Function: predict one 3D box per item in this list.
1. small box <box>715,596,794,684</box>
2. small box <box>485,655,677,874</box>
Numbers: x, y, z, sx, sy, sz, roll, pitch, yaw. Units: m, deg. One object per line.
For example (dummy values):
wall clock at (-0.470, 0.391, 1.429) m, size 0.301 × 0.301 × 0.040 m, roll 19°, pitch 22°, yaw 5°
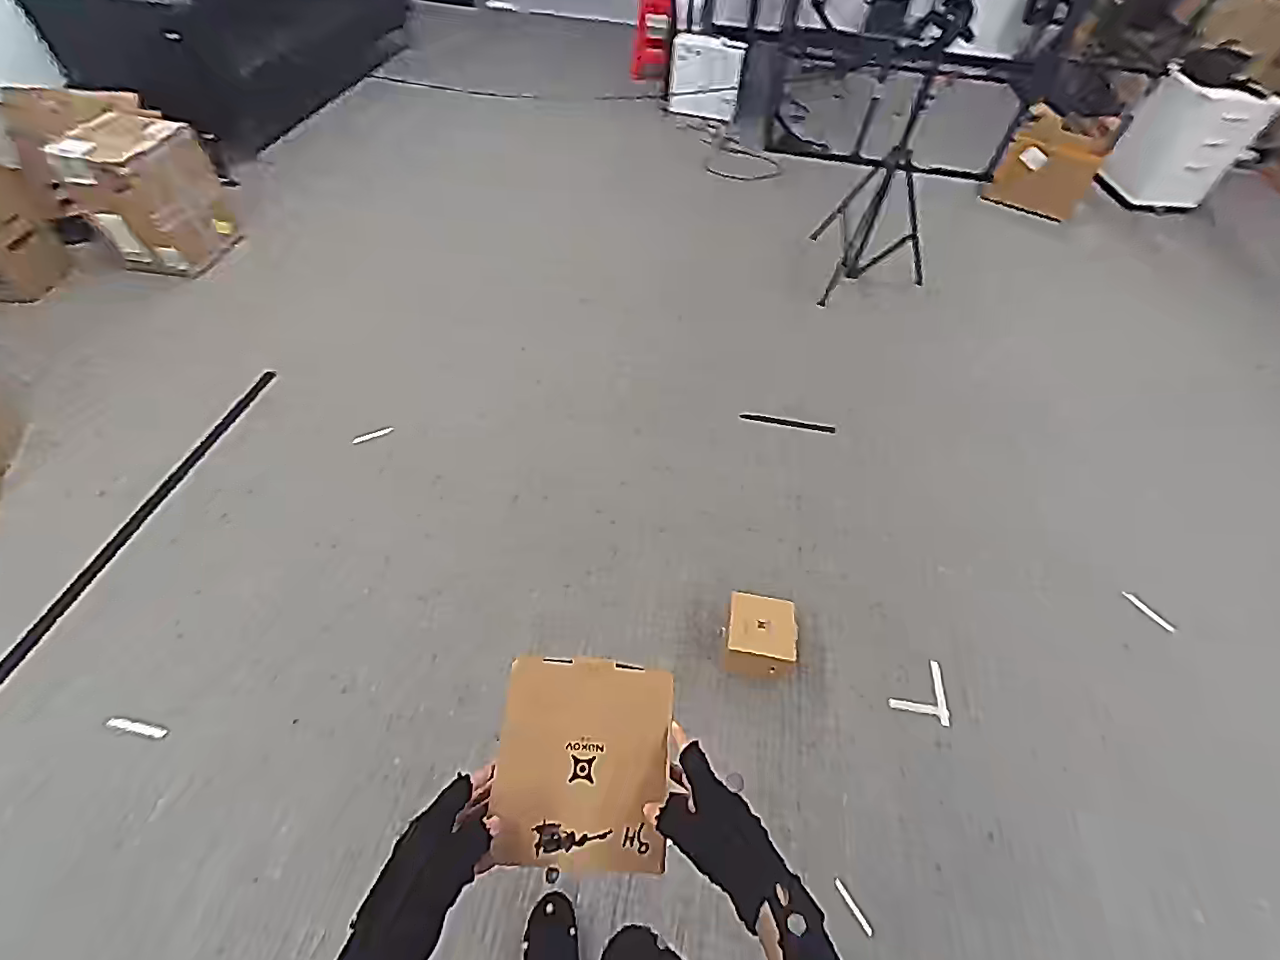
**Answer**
small box at (0.310, 0.442, 1.477) m, size 0.179 × 0.176 × 0.168 m, roll 9°, pitch 52°, yaw 4°
small box at (-0.060, 0.300, 0.587) m, size 0.168 × 0.176 × 0.179 m, roll 7°, pitch 64°, yaw -4°
